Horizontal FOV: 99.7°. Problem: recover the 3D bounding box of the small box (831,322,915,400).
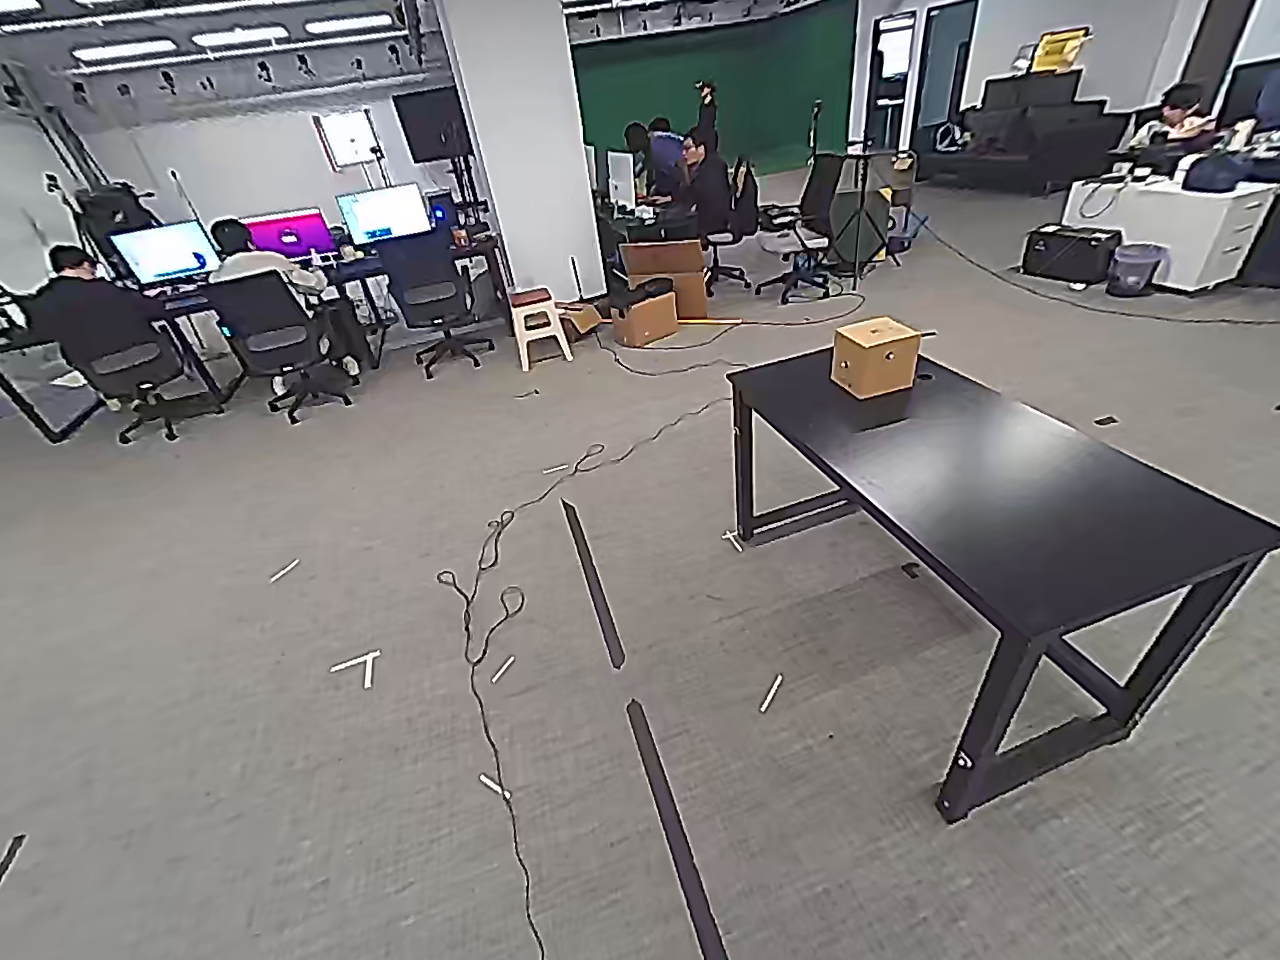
[{"bbox_3d":[0.697,-0.357,1.637,0.179,0.176,0.168,-15,35,-8],"label":"small box"}]
